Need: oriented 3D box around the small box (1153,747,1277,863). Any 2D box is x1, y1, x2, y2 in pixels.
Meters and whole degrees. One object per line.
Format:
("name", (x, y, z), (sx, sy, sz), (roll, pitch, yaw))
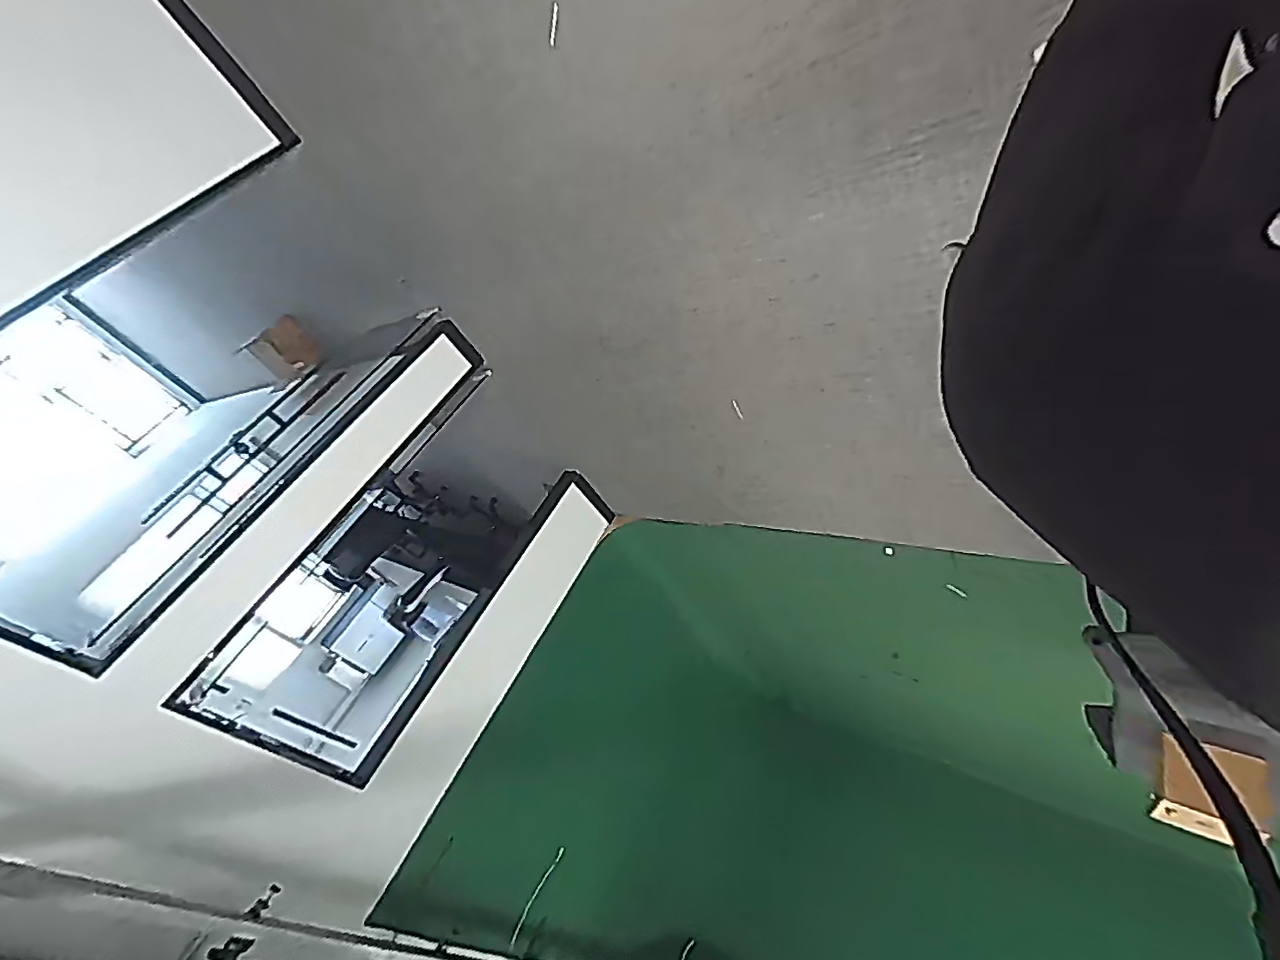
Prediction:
("small box", (1.367, 0.773, 1.299), (0.179, 0.176, 0.168), (7, 143, 38))
